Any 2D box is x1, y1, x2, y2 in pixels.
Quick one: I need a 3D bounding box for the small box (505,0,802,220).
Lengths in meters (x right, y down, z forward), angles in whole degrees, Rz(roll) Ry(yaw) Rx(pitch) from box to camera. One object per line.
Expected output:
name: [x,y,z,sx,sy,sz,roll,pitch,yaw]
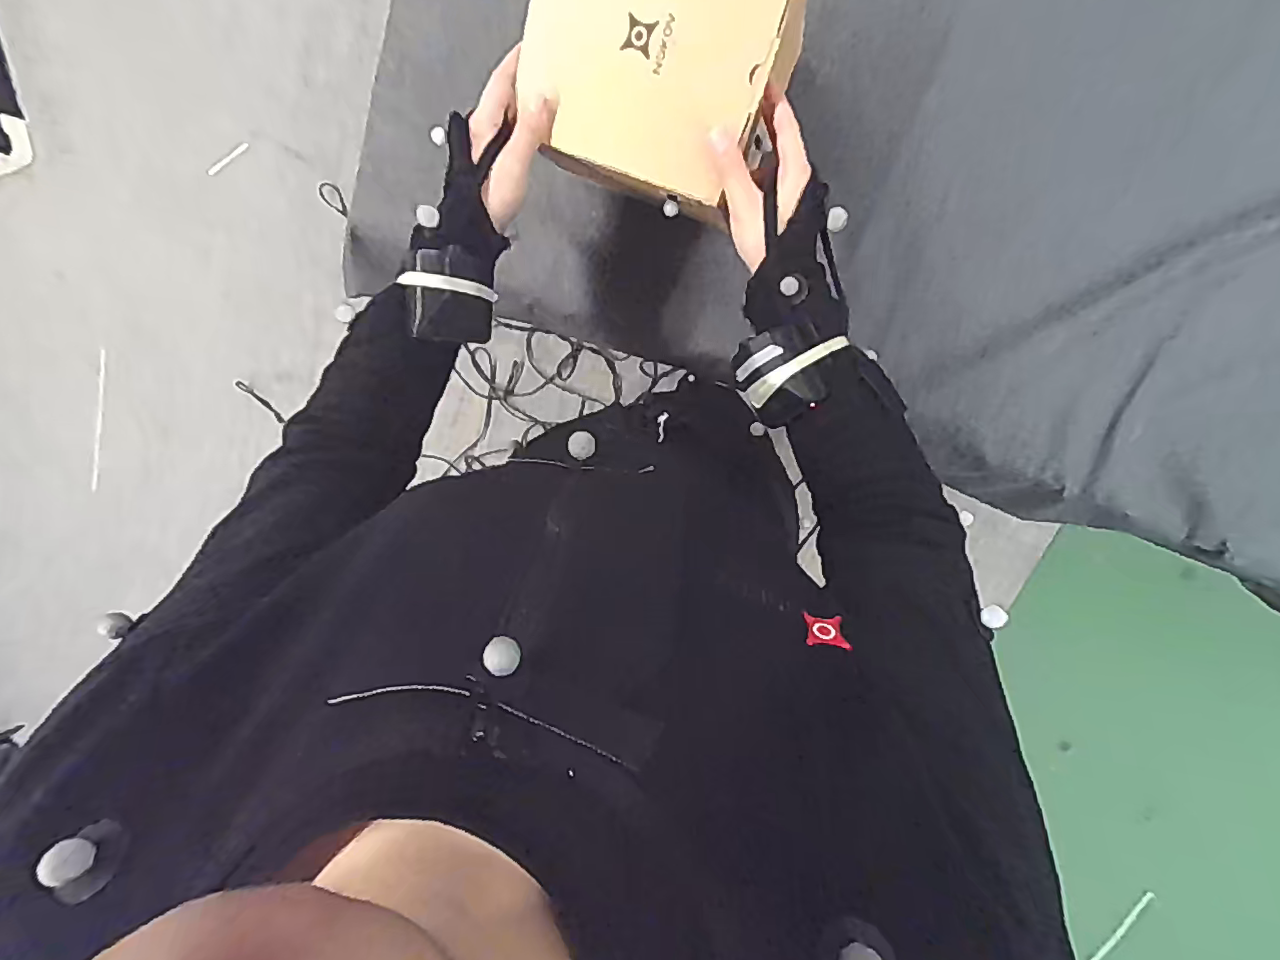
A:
small box: [0.019,-0.332,0.445,0.179,0.176,0.168,21,111,5]
